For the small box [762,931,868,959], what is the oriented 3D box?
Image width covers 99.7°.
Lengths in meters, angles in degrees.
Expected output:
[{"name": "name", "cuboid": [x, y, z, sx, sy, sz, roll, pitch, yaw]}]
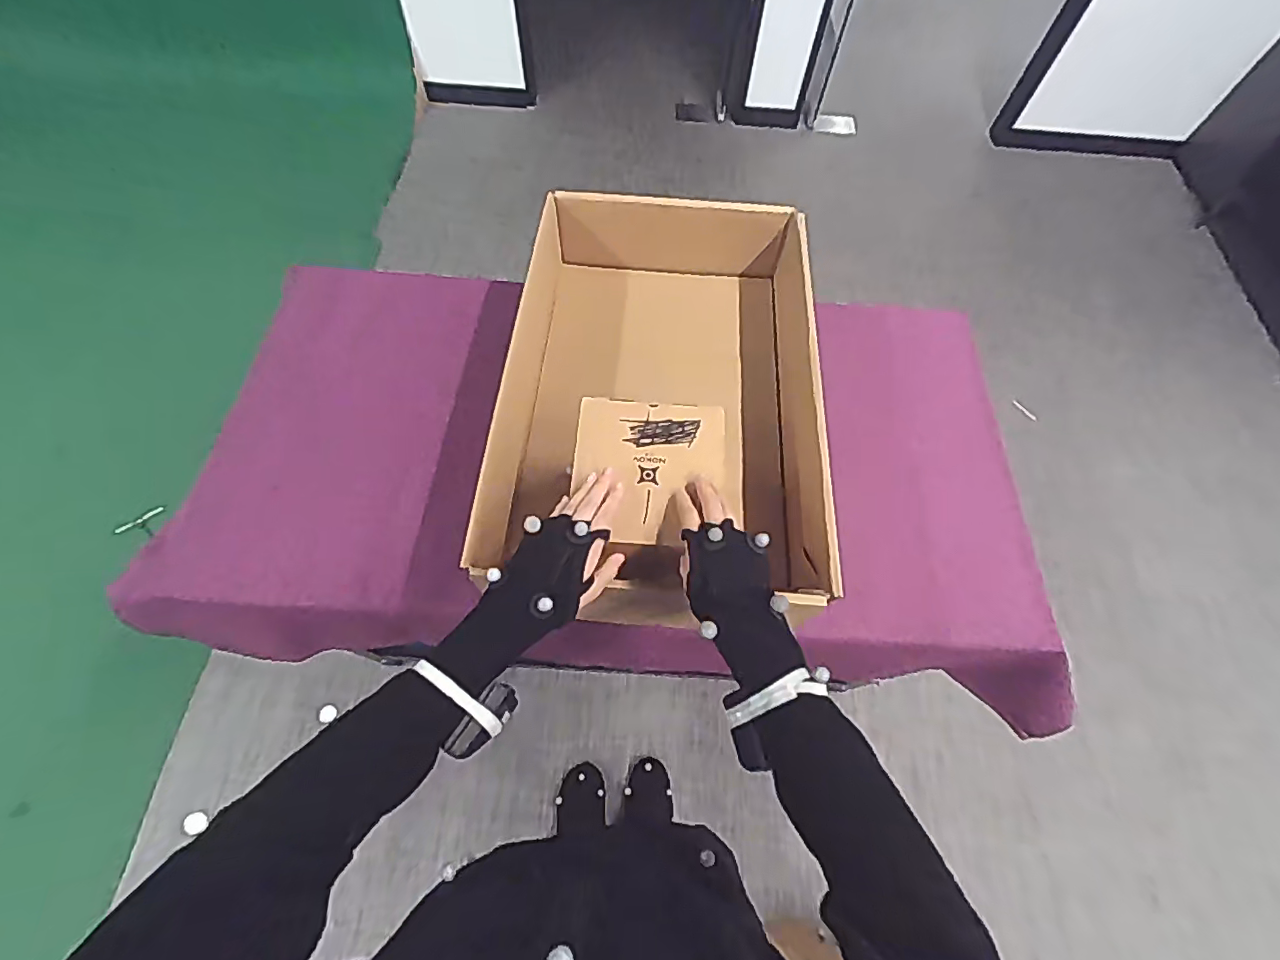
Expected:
[{"name": "small box", "cuboid": [0.342, 1.002, 1.049, 0.179, 0.176, 0.168, 0, 62, -3]}]

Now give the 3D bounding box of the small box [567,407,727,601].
[{"name": "small box", "cuboid": [0.009, 0.035, 0.654, 0.168, 0.176, 0.179, 4, 63, 0]}]
